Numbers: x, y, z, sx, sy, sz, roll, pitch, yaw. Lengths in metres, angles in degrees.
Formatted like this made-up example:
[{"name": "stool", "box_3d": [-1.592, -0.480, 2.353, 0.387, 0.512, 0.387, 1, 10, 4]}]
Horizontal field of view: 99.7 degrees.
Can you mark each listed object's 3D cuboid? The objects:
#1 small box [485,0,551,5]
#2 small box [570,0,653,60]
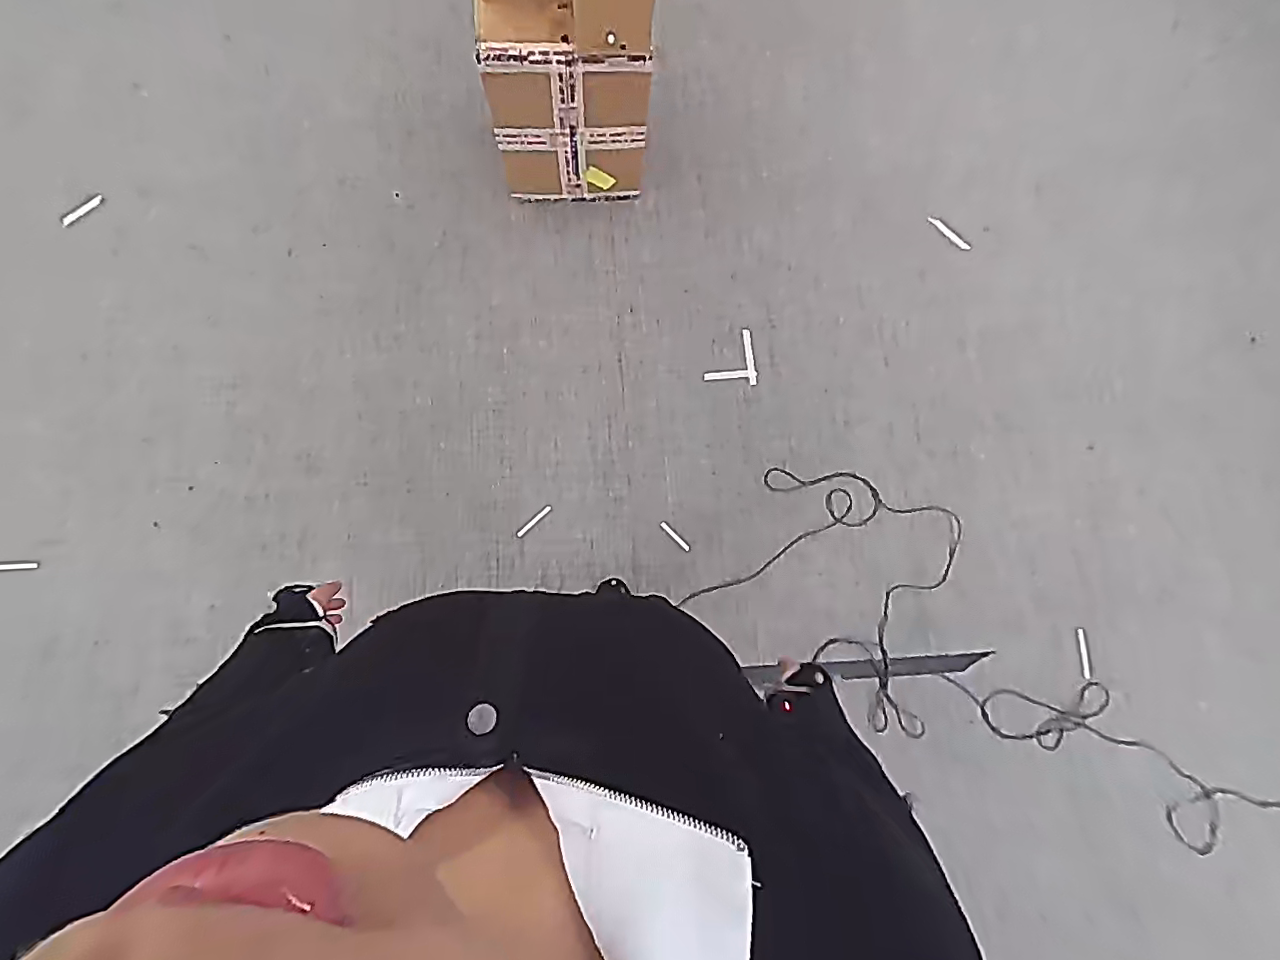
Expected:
[{"name": "small box", "box_3d": [-0.274, -1.155, 1.132, 0.168, 0.176, 0.179, -2, 83, -3]}, {"name": "small box", "box_3d": [-0.064, -1.034, 1.132, 0.168, 0.176, 0.179, -2, 84, -5]}]
